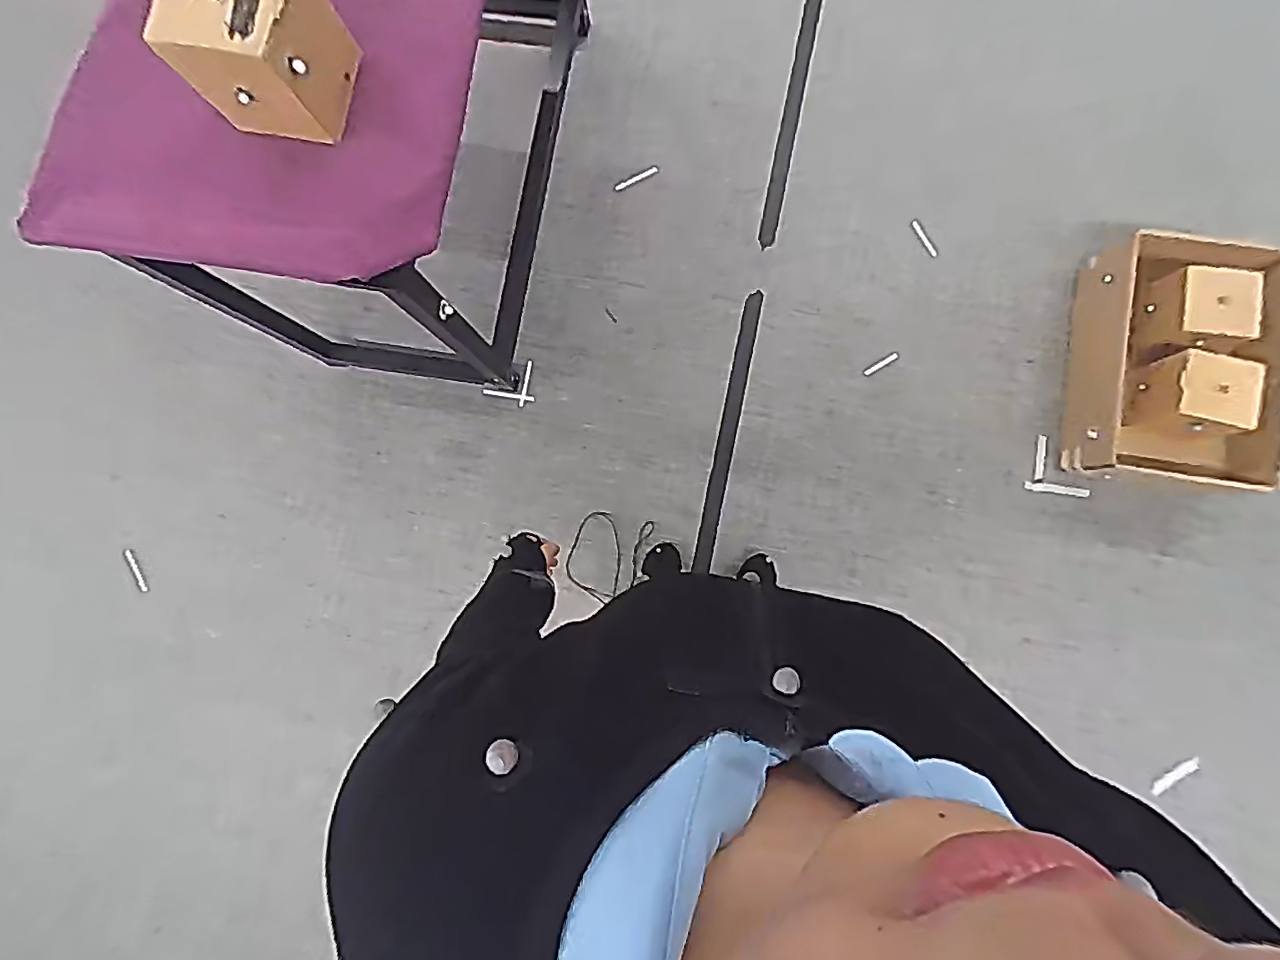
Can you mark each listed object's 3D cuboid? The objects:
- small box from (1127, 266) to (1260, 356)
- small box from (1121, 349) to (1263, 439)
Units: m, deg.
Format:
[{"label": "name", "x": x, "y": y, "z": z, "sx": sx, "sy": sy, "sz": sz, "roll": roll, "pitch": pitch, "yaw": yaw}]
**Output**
[{"label": "small box", "x": 1.409, "y": -0.427, "z": 1.388, "sx": 0.179, "sy": 0.176, "sz": 0.168, "roll": 8, "pitch": 87, "yaw": 3}, {"label": "small box", "x": 1.392, "y": -0.210, "z": 1.373, "sx": 0.179, "sy": 0.176, "sz": 0.168, "roll": 15, "pitch": 85, "yaw": 4}]
